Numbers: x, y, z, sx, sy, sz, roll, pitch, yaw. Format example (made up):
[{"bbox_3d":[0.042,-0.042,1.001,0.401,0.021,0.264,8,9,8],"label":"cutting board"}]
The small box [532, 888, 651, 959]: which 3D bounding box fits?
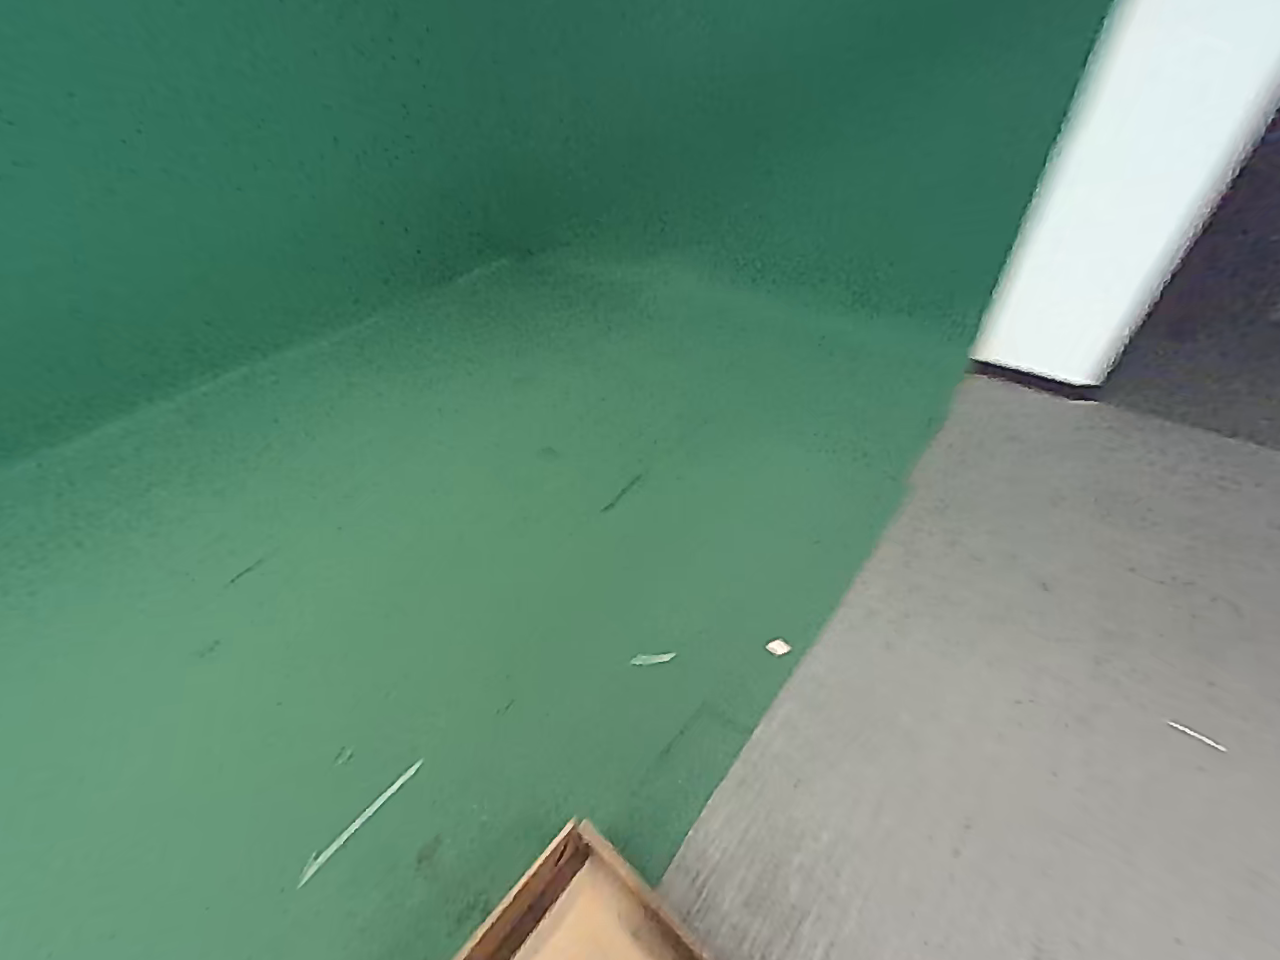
[{"bbox_3d":[-0.082,0.815,0.868,0.168,0.176,0.179,30,52,27],"label":"small box"}]
